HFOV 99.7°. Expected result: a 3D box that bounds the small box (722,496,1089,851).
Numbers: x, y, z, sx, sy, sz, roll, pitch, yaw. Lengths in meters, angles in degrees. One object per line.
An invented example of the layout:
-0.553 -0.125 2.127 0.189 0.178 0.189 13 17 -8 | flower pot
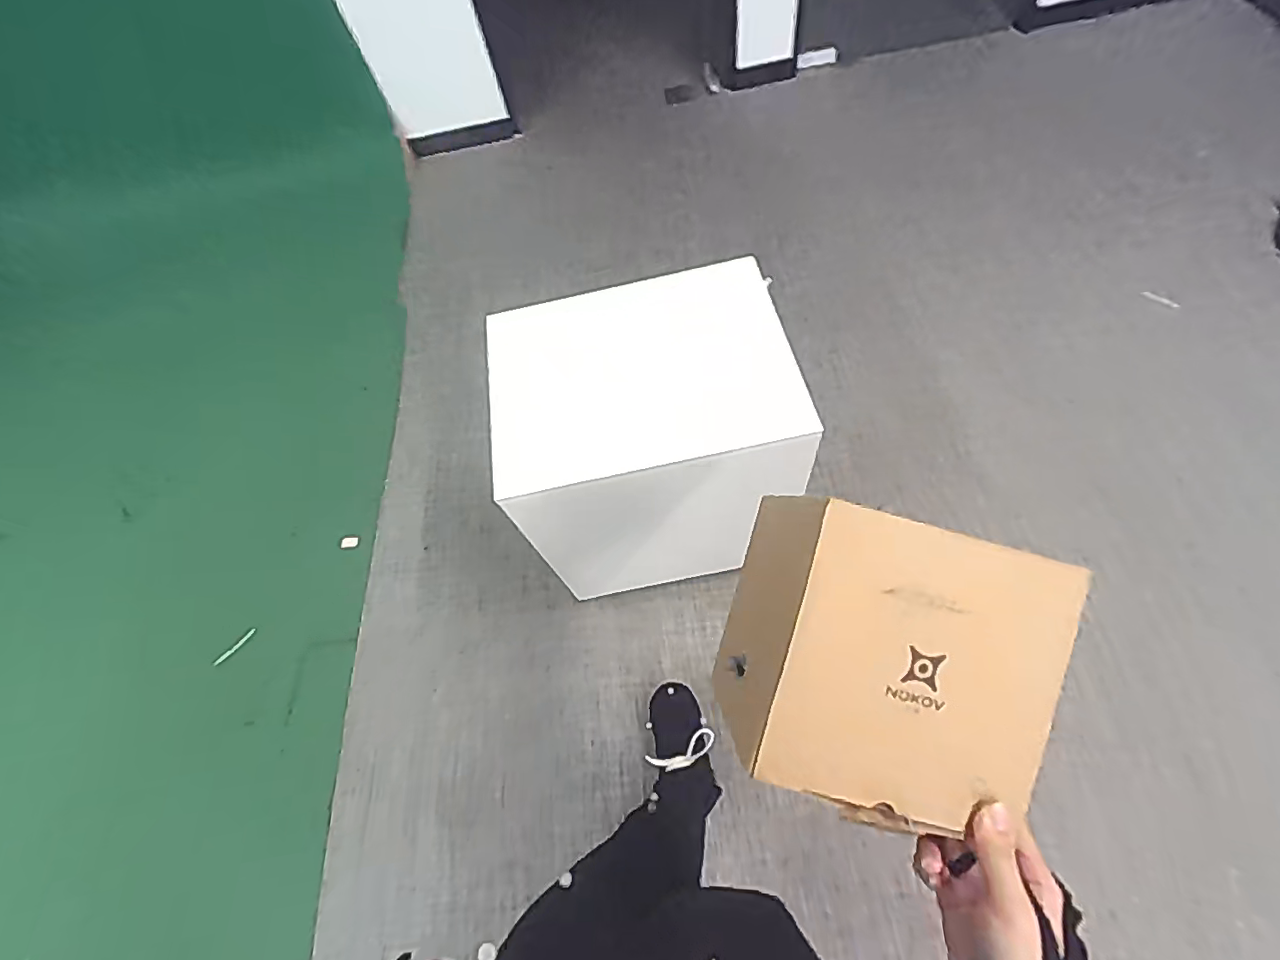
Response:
0.167 0.117 0.401 0.168 0.176 0.179 16 88 0 | small box
